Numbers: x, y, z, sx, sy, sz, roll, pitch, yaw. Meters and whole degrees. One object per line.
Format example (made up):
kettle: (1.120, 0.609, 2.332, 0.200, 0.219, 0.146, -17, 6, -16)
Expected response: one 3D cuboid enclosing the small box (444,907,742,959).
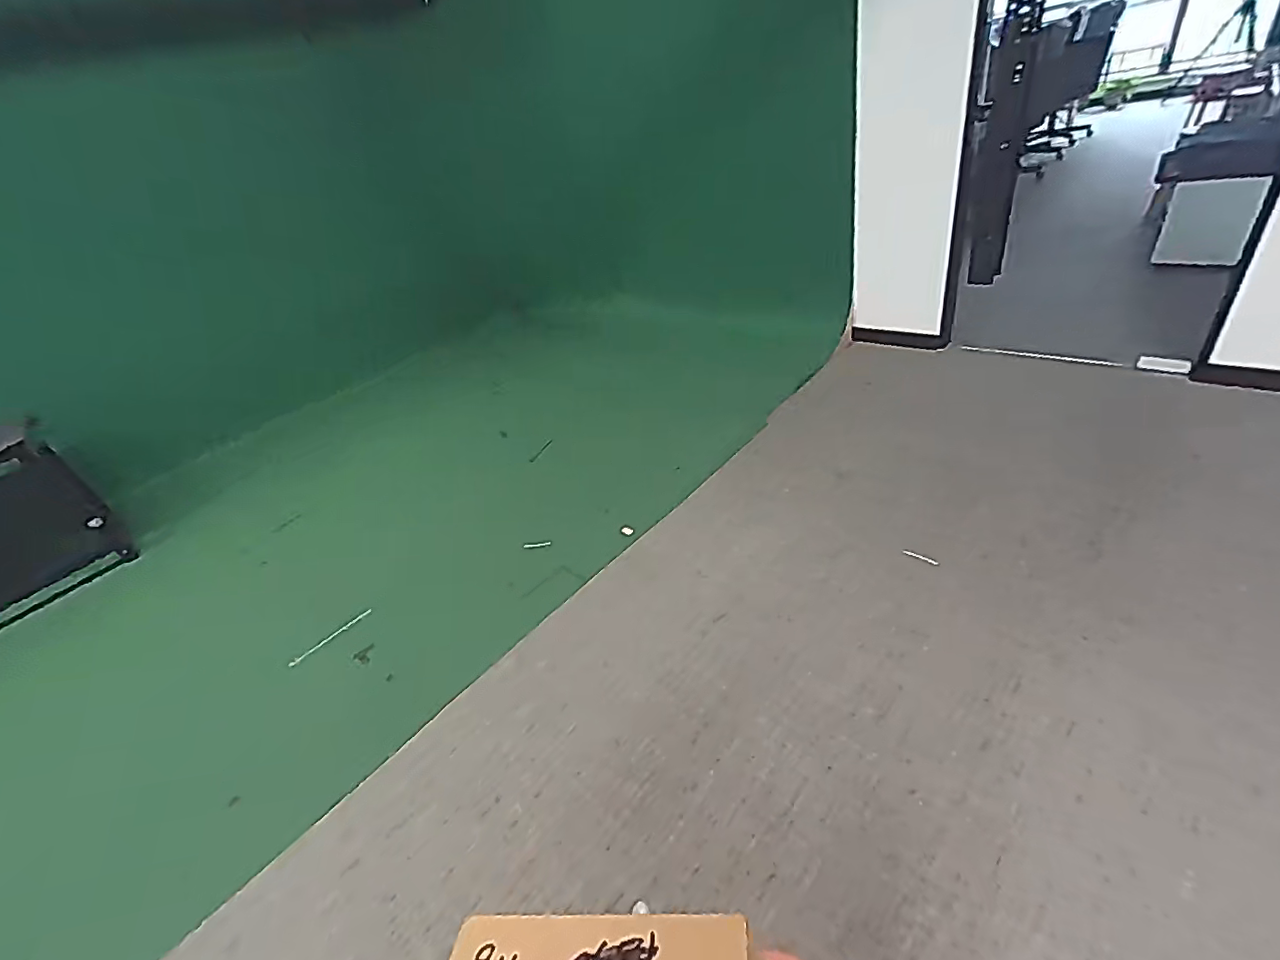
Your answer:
small box: (-0.014, 0.350, 0.267, 0.168, 0.176, 0.179, -11, 30, 13)
